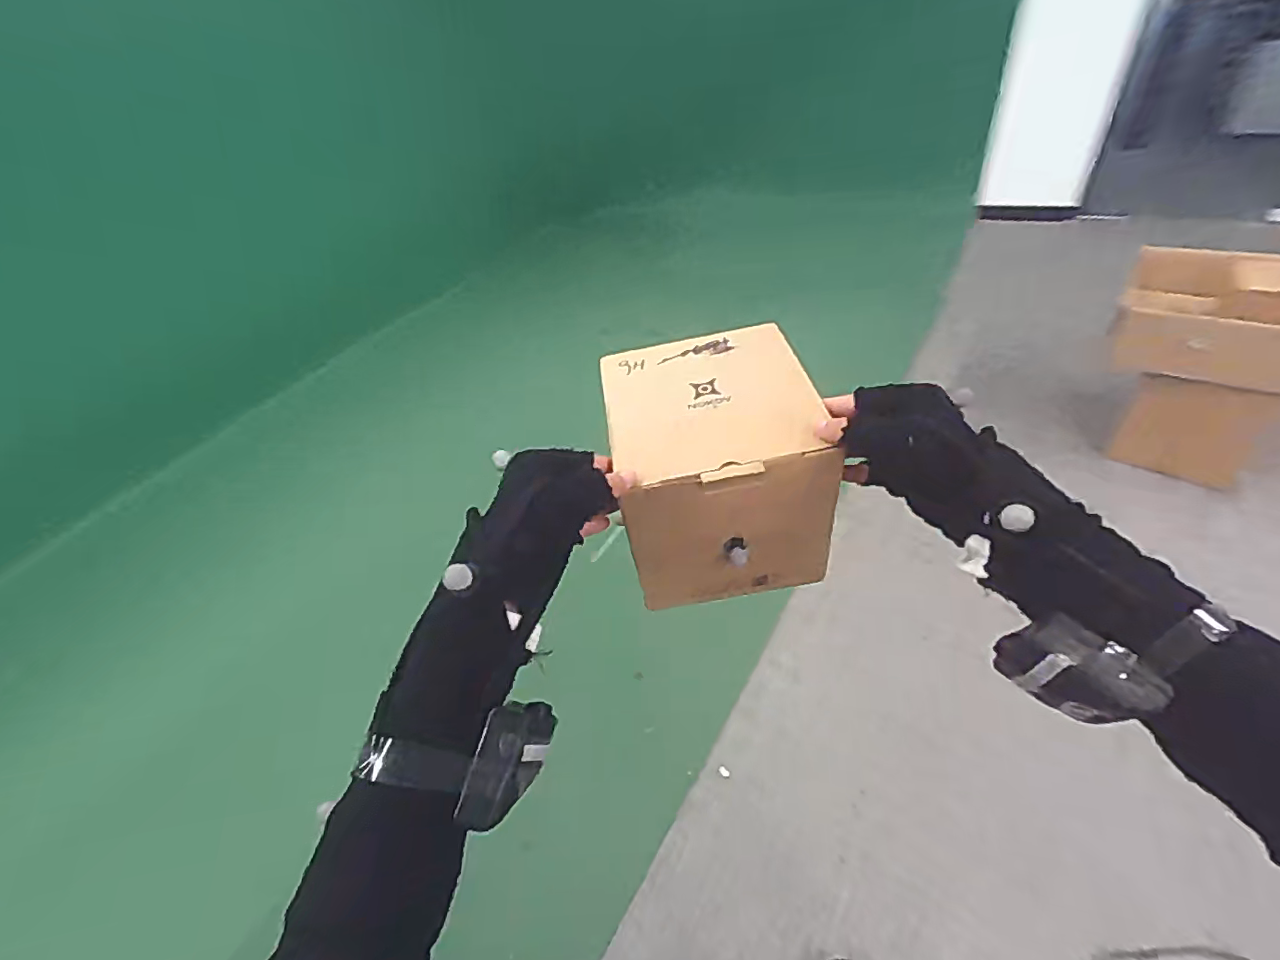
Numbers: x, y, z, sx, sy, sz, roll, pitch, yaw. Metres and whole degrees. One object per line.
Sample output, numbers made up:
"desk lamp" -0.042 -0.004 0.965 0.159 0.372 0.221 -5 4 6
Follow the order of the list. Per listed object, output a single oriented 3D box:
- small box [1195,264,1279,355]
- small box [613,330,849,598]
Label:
"small box" 1.661 -0.462 1.467 0.168 0.176 0.179 21 52 30
"small box" 0.075 -0.007 0.497 0.168 0.176 0.179 -10 46 2
